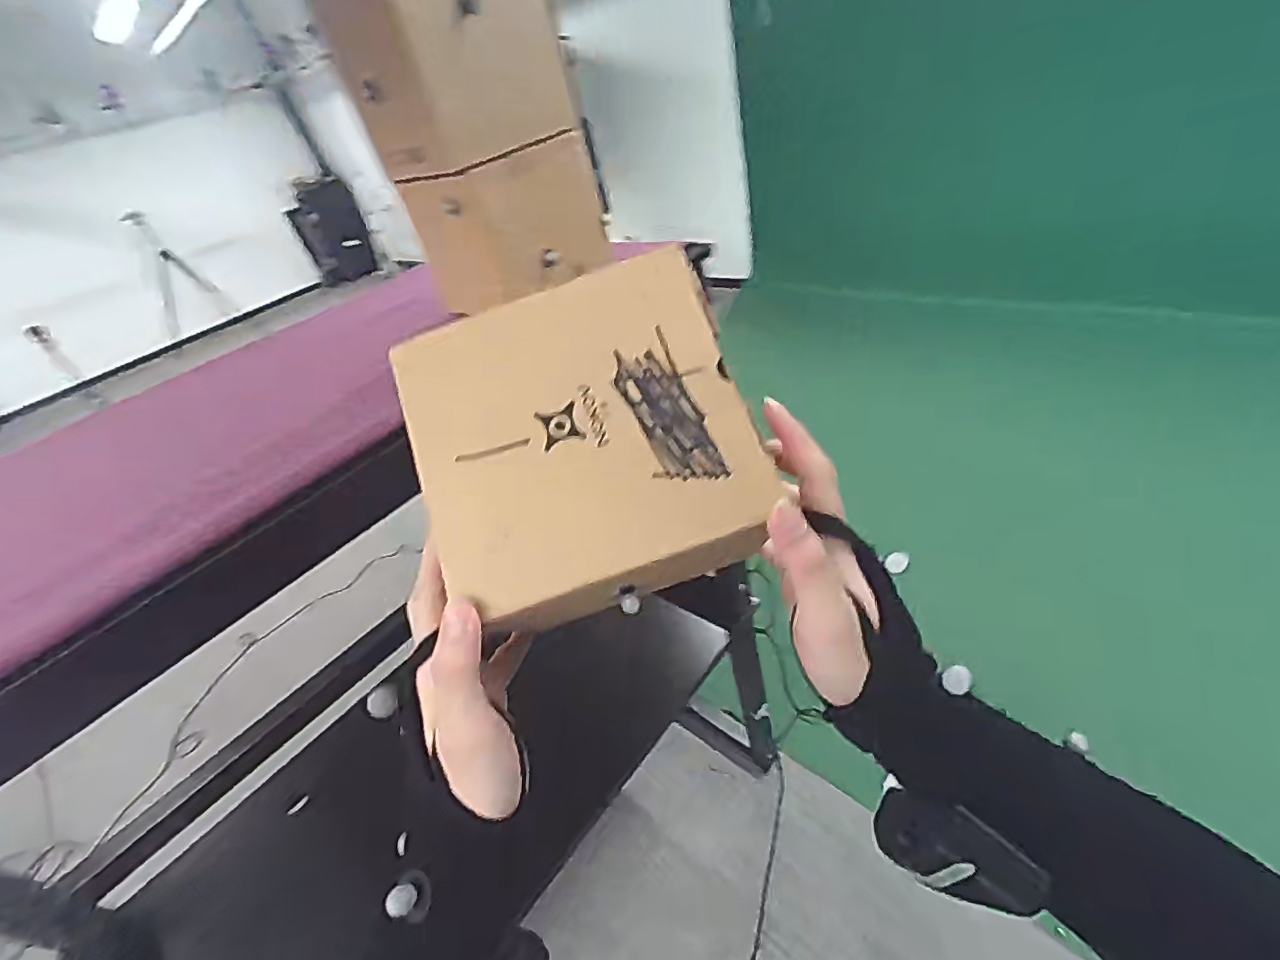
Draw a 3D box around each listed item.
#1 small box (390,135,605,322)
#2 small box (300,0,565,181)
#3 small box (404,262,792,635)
[{"bbox_3d":[-0.173,-0.313,0.687,0.179,0.176,0.168,21,51,39],"label":"small box"},{"bbox_3d":[-0.209,-0.434,0.580,0.168,0.176,0.179,22,52,38],"label":"small box"},{"bbox_3d":[-0.022,-0.004,0.364,0.179,0.176,0.168,-19,73,1],"label":"small box"}]
